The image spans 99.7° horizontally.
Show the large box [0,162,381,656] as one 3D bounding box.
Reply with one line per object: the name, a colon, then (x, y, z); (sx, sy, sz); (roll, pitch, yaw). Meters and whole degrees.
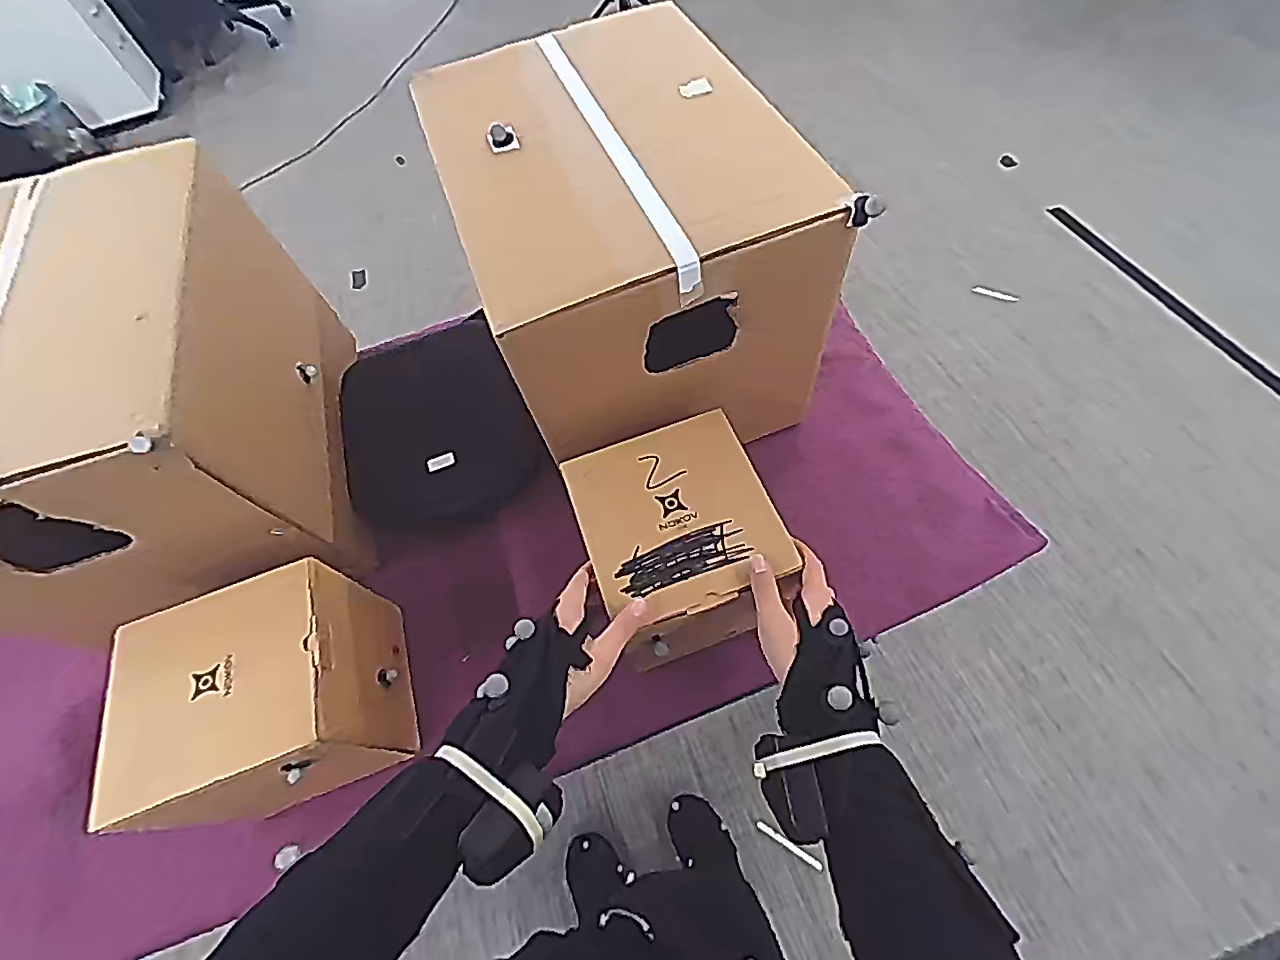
large box: (-0.538, -0.065, 0.615); (0.320, 0.320, 0.408); (-20, 64, -4)
